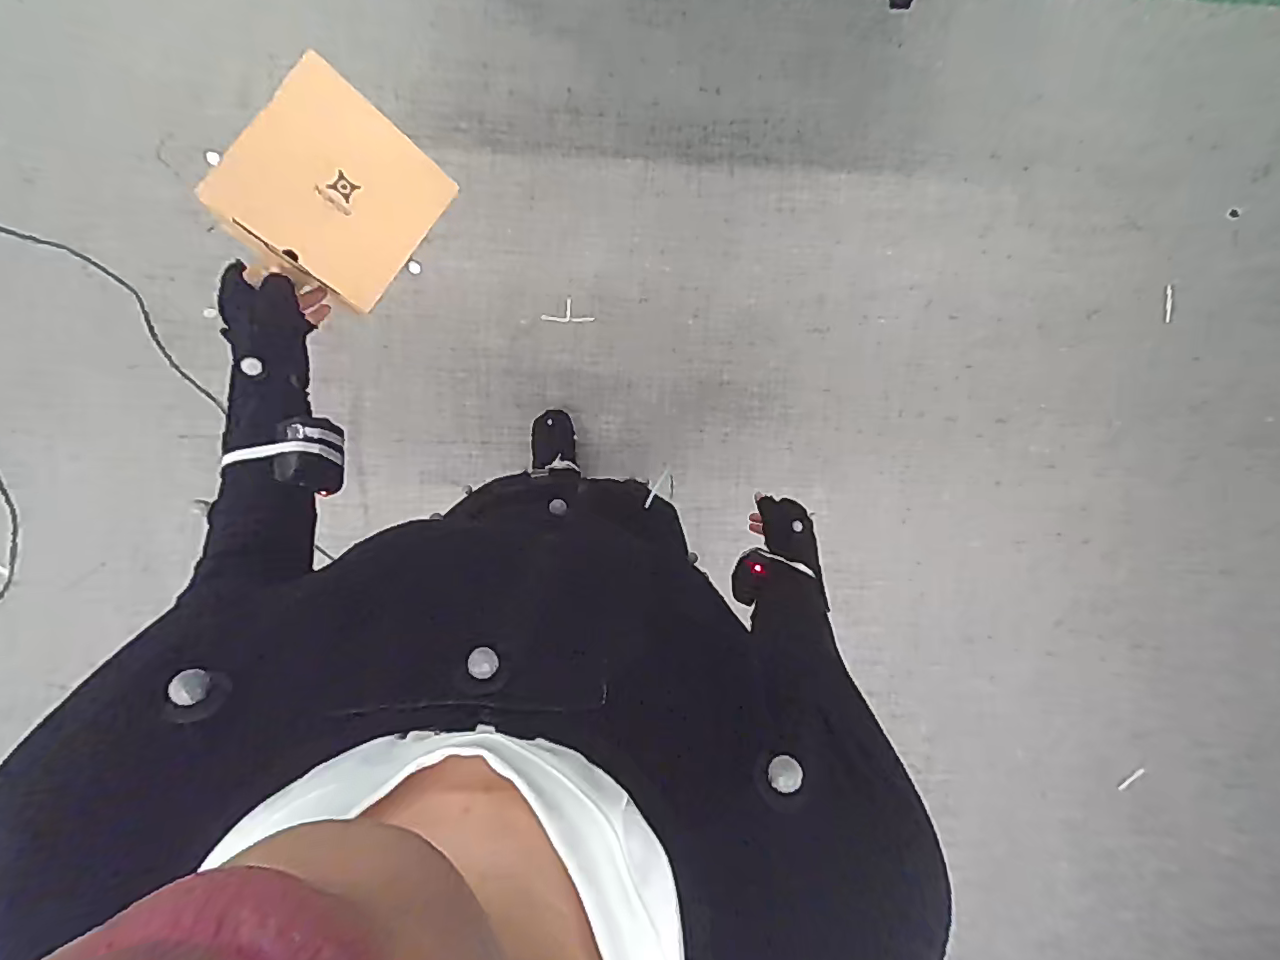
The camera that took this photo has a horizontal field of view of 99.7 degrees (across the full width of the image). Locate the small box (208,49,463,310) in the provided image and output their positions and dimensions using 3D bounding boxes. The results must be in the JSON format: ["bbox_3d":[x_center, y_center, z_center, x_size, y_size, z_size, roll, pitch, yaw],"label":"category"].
[{"bbox_3d":[-0.334,-0.314,0.605,0.168,0.176,0.179,37,85,-34],"label":"small box"}]

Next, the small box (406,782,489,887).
[{"bbox_3d":[-0.493,0.908,1.398,0.168,0.176,0.179,0,91,-2],"label":"small box"}]
